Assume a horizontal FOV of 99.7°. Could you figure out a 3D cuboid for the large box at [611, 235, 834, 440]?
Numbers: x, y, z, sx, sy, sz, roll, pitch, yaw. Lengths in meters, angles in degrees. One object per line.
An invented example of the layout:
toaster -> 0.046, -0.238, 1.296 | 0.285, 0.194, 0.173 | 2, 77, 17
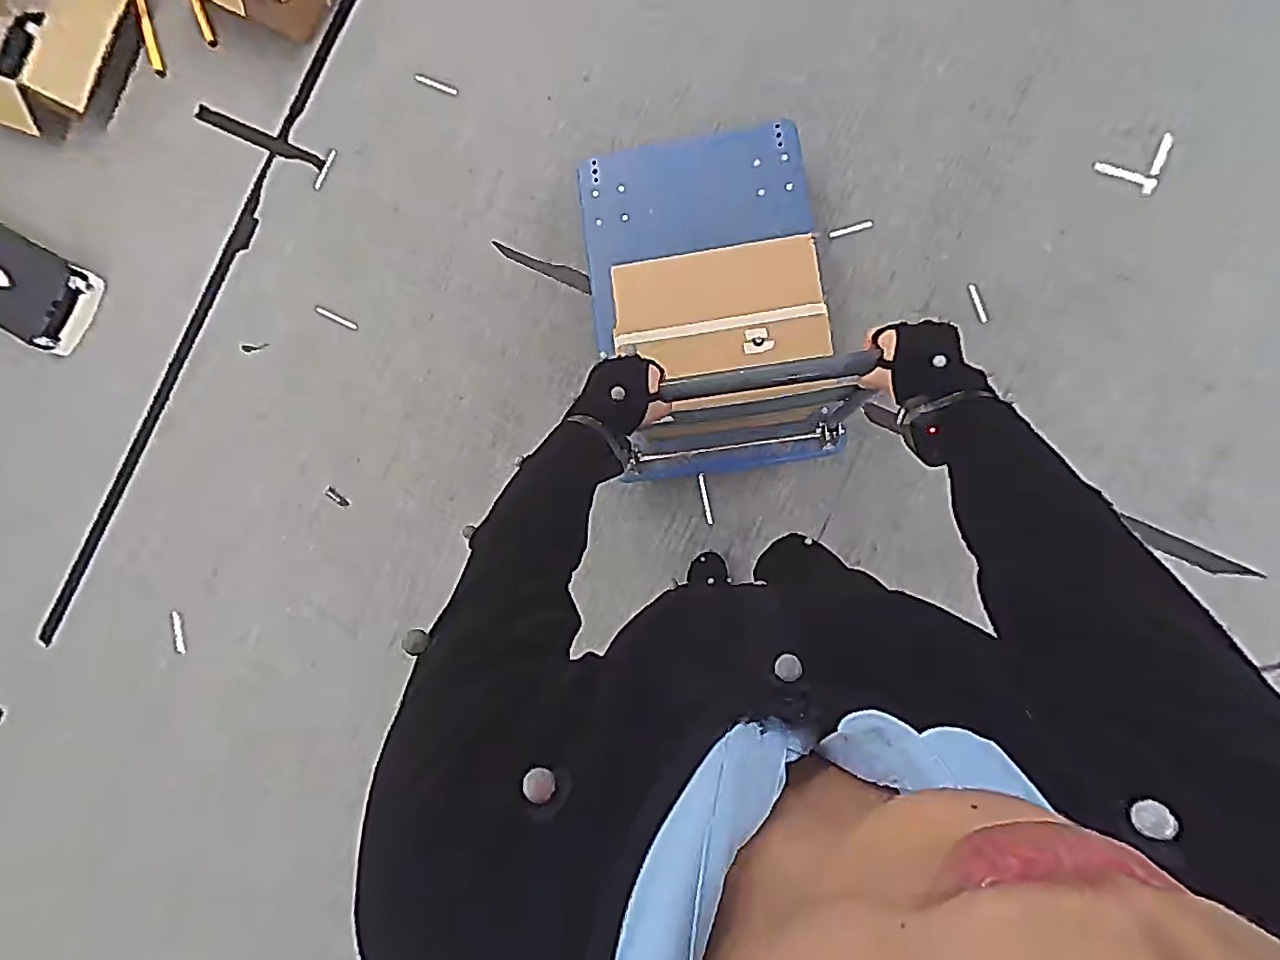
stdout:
large box -> 0.168, -0.289, 1.208 | 0.408, 0.320, 0.320 | -8, 86, 5
